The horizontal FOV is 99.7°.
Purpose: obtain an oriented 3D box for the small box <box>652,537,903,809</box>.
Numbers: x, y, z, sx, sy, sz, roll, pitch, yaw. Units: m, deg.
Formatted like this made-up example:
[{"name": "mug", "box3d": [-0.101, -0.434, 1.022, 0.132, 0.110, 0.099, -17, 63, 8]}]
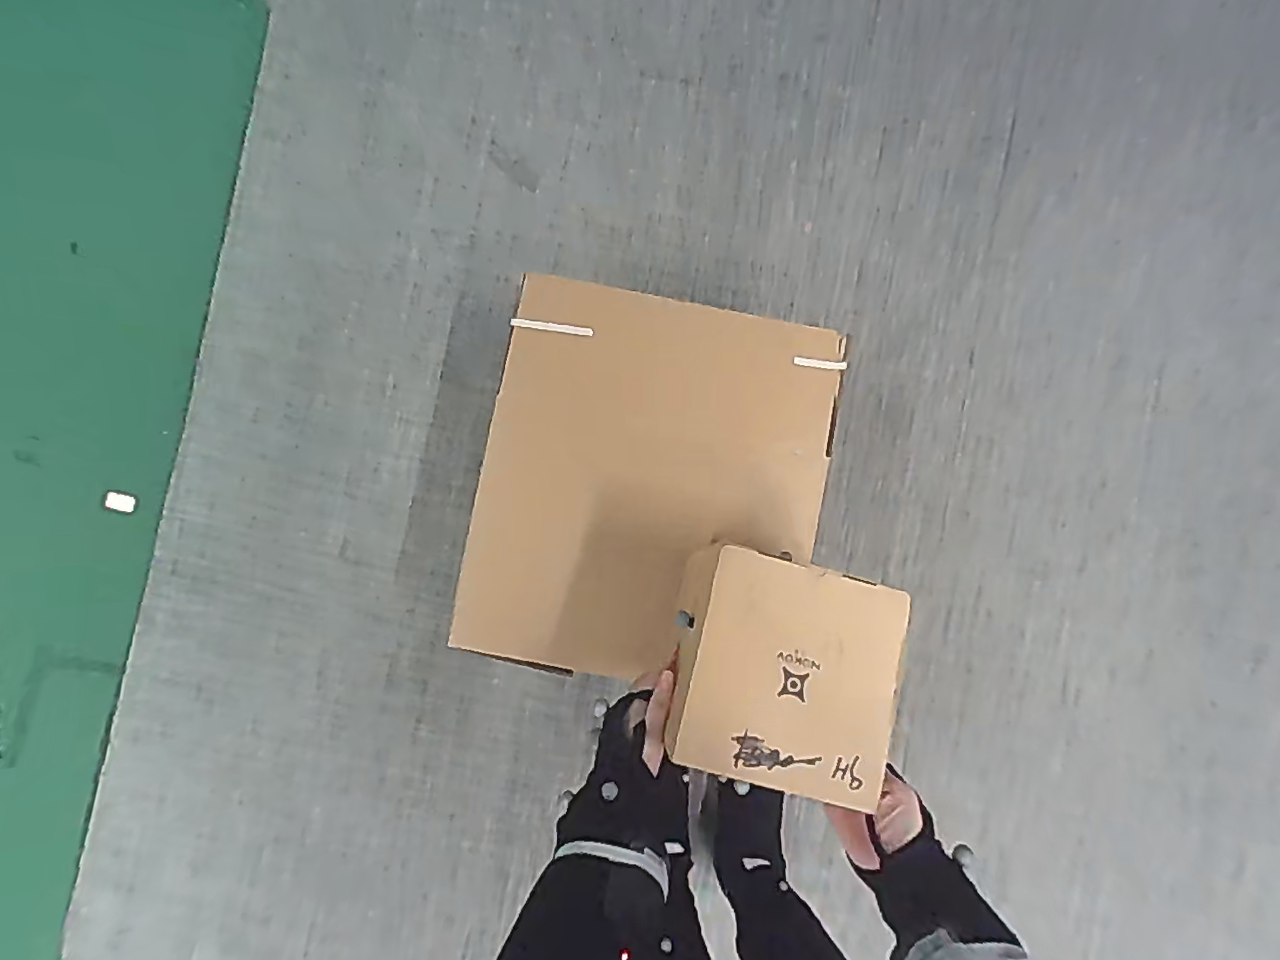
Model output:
[{"name": "small box", "box3d": [0.114, 0.166, 0.511, 0.168, 0.176, 0.179, 16, 78, -1]}]
